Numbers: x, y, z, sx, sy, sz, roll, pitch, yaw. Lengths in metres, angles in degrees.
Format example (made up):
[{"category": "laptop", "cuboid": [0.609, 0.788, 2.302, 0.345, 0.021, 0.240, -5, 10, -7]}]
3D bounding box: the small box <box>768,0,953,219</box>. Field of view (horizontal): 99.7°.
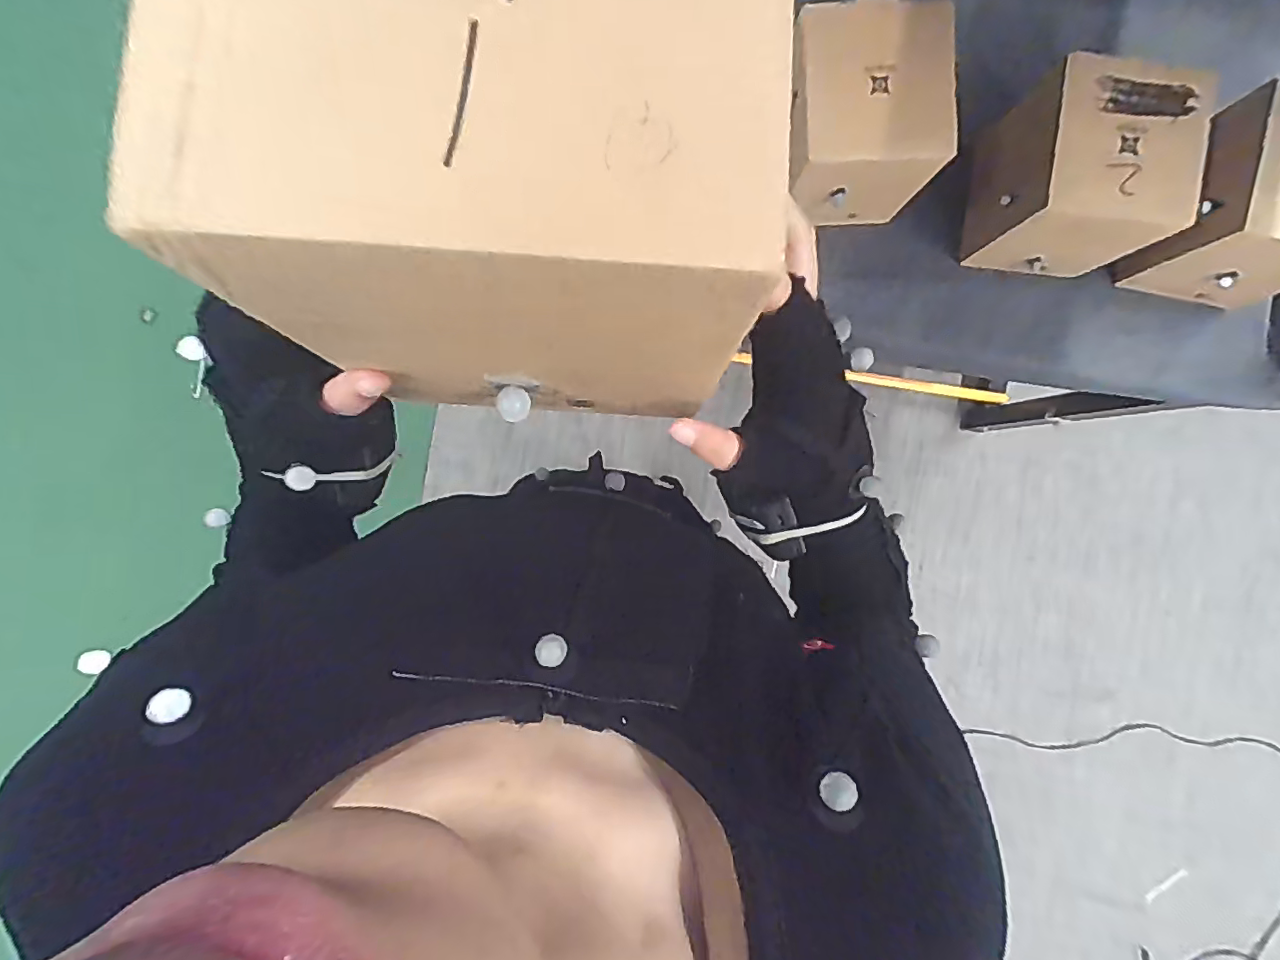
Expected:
[{"category": "small box", "cuboid": [0.261, -0.442, 0.672, 0.168, 0.176, 0.179, -2, 91, 0]}]
